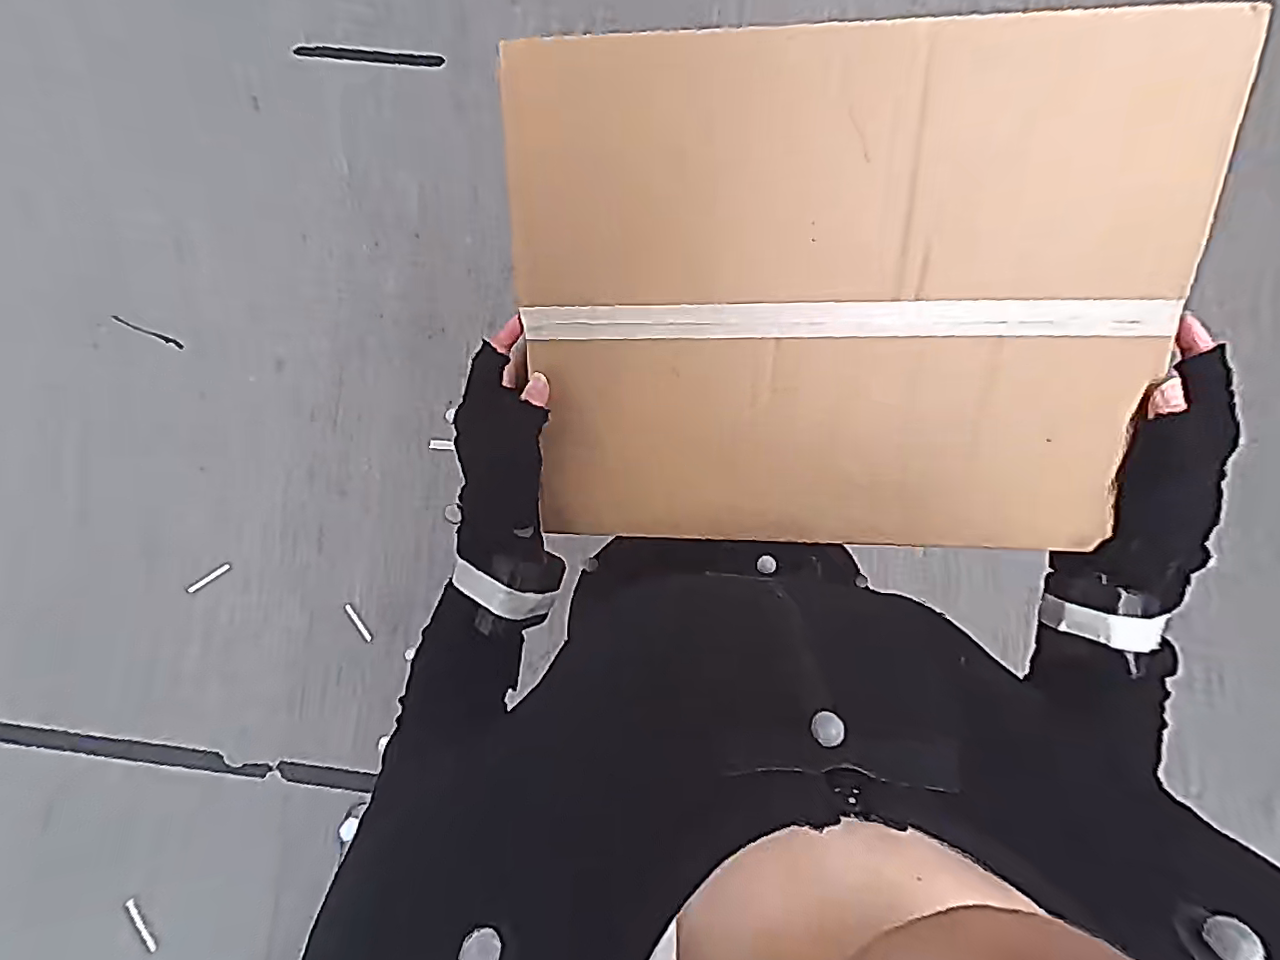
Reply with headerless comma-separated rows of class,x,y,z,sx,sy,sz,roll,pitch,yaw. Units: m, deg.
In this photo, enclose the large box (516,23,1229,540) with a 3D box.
large box,0.136,-0.152,0.497,0.408,0.320,0.320,2,110,5
